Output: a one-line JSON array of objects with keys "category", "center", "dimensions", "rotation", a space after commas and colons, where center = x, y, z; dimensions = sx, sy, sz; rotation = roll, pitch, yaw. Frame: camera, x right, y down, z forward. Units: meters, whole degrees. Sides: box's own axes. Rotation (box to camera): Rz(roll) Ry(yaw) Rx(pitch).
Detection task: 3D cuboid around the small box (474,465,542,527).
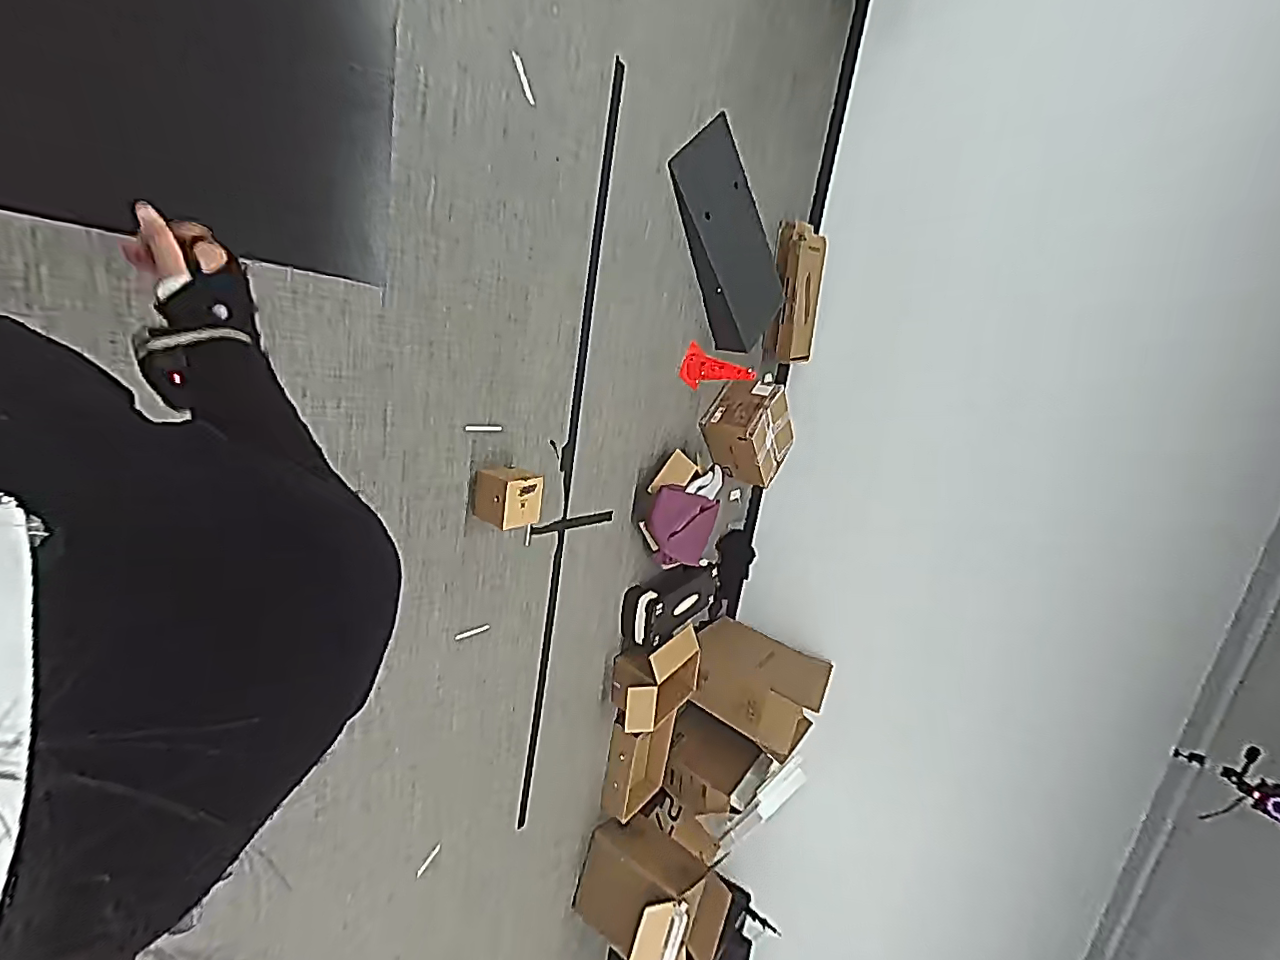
[{"category": "small box", "center": [-0.473, 0.049, 1.924], "dimensions": [0.168, 0.176, 0.179], "rotation": [-10, 113, -52]}]
